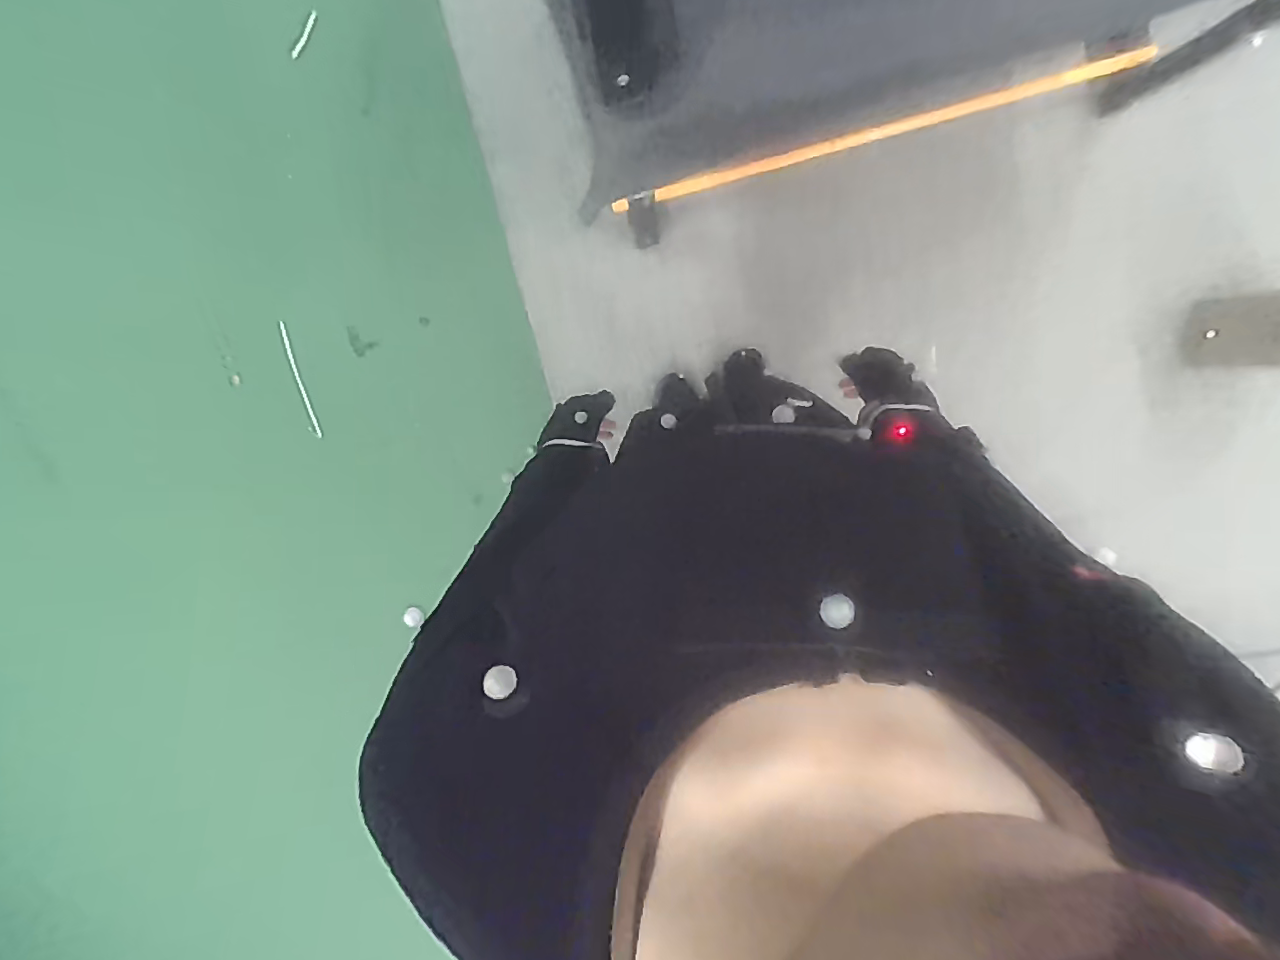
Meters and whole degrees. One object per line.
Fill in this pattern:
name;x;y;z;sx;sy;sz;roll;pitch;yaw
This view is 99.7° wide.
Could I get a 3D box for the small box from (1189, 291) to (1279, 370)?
small box;1.461;-0.352;1.267;0.179;0.176;0.168;-8;101;5
